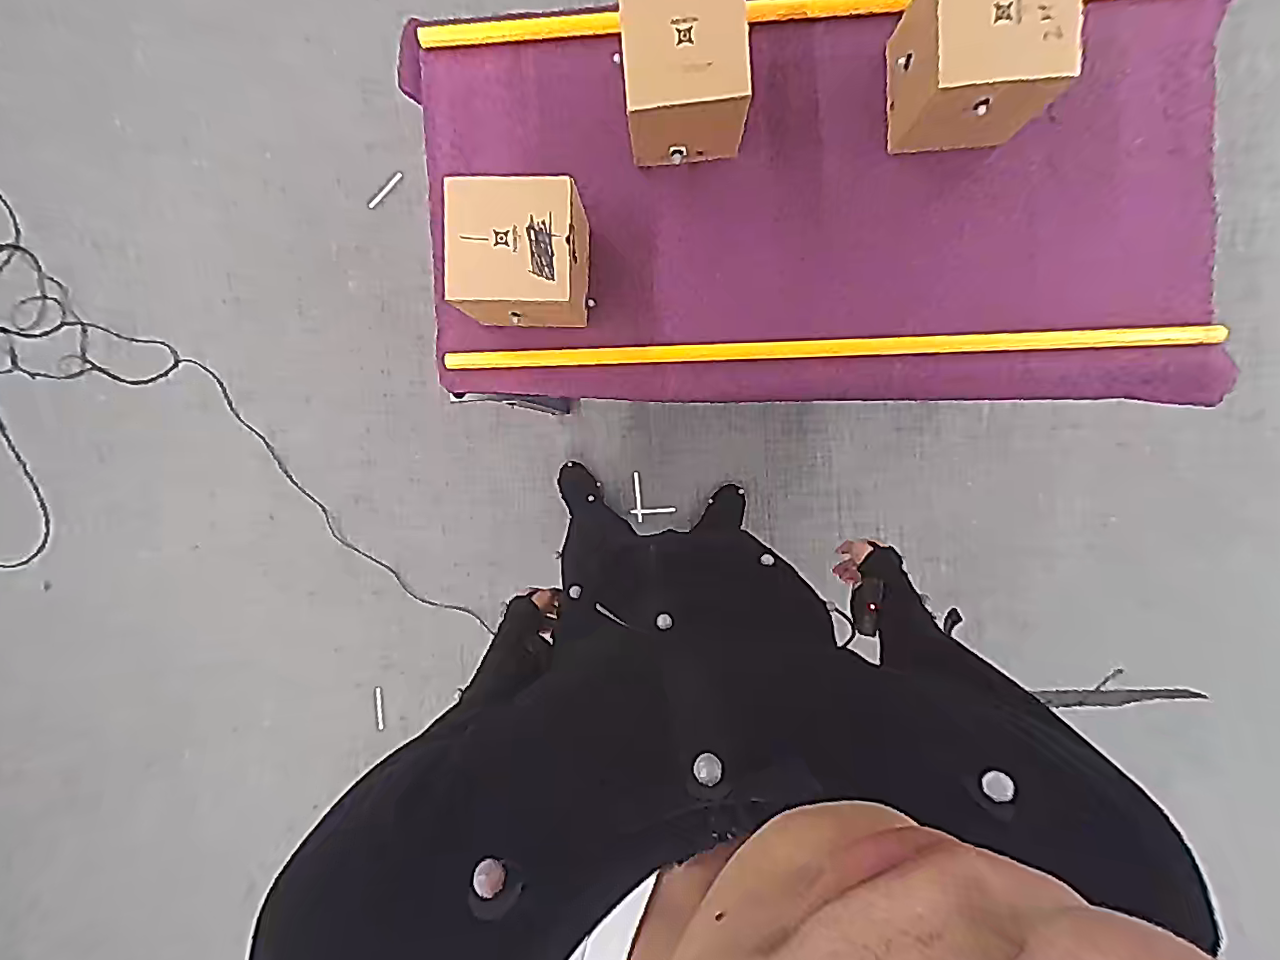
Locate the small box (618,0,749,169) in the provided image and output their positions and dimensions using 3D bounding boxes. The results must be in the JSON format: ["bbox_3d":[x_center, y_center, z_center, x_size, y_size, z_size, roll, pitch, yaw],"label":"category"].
[{"bbox_3d":[0.059,-0.584,0.778,0.168,0.176,0.179,-5,94,4],"label":"small box"}]

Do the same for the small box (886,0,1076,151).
[{"bbox_3d":[0.460,-0.588,0.755,0.179,0.176,0.168,-2,95,3],"label":"small box"}]

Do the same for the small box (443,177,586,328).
[{"bbox_3d":[-0.176,-0.327,0.805,0.179,0.176,0.168,2,94,2],"label":"small box"}]
